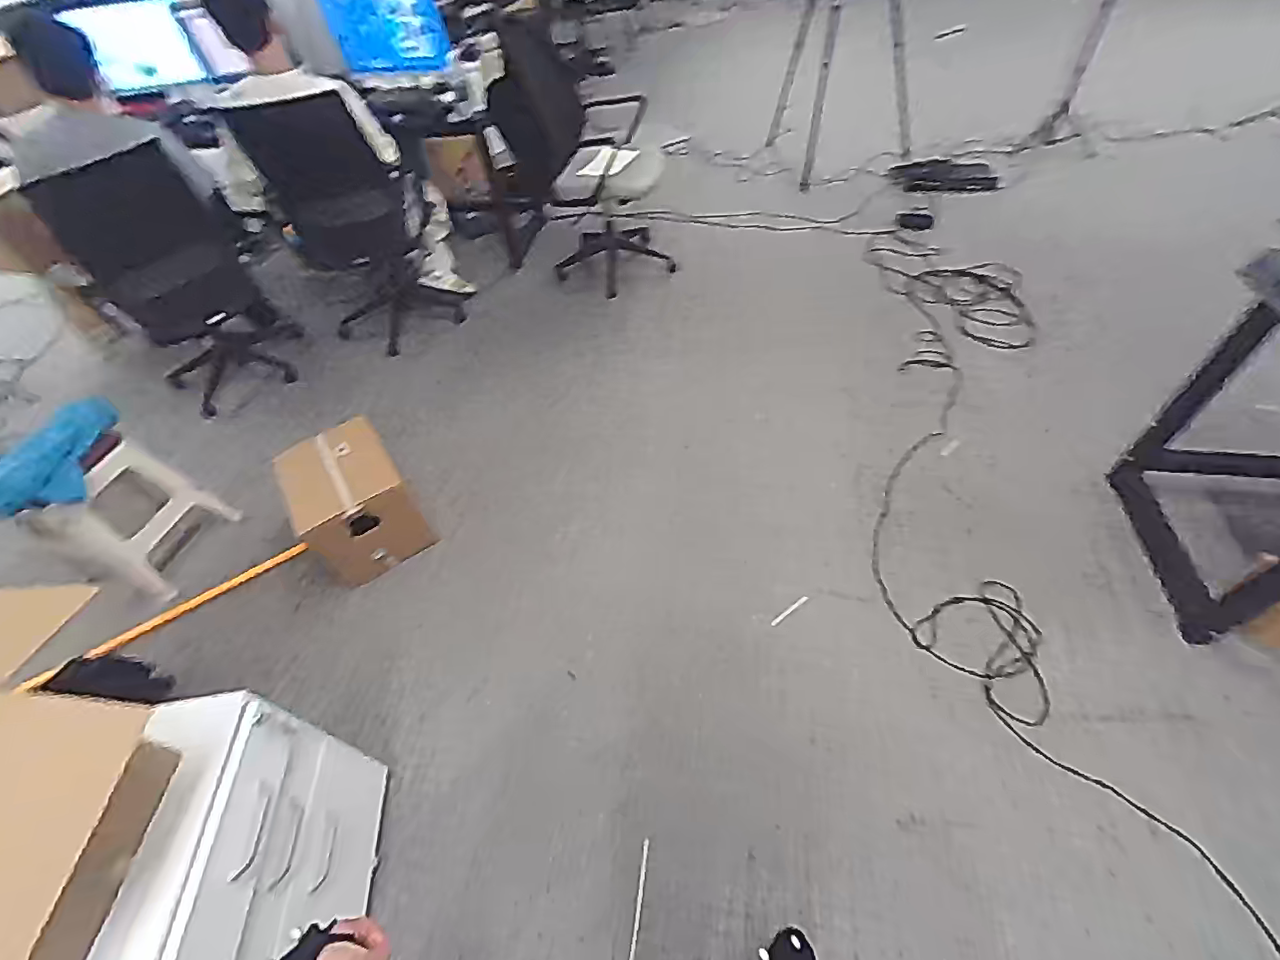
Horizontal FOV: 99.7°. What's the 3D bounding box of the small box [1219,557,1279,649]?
[{"bbox_3d":[1.640,0.322,1.362,0.168,0.176,0.179,7,51,14],"label":"small box"}]
